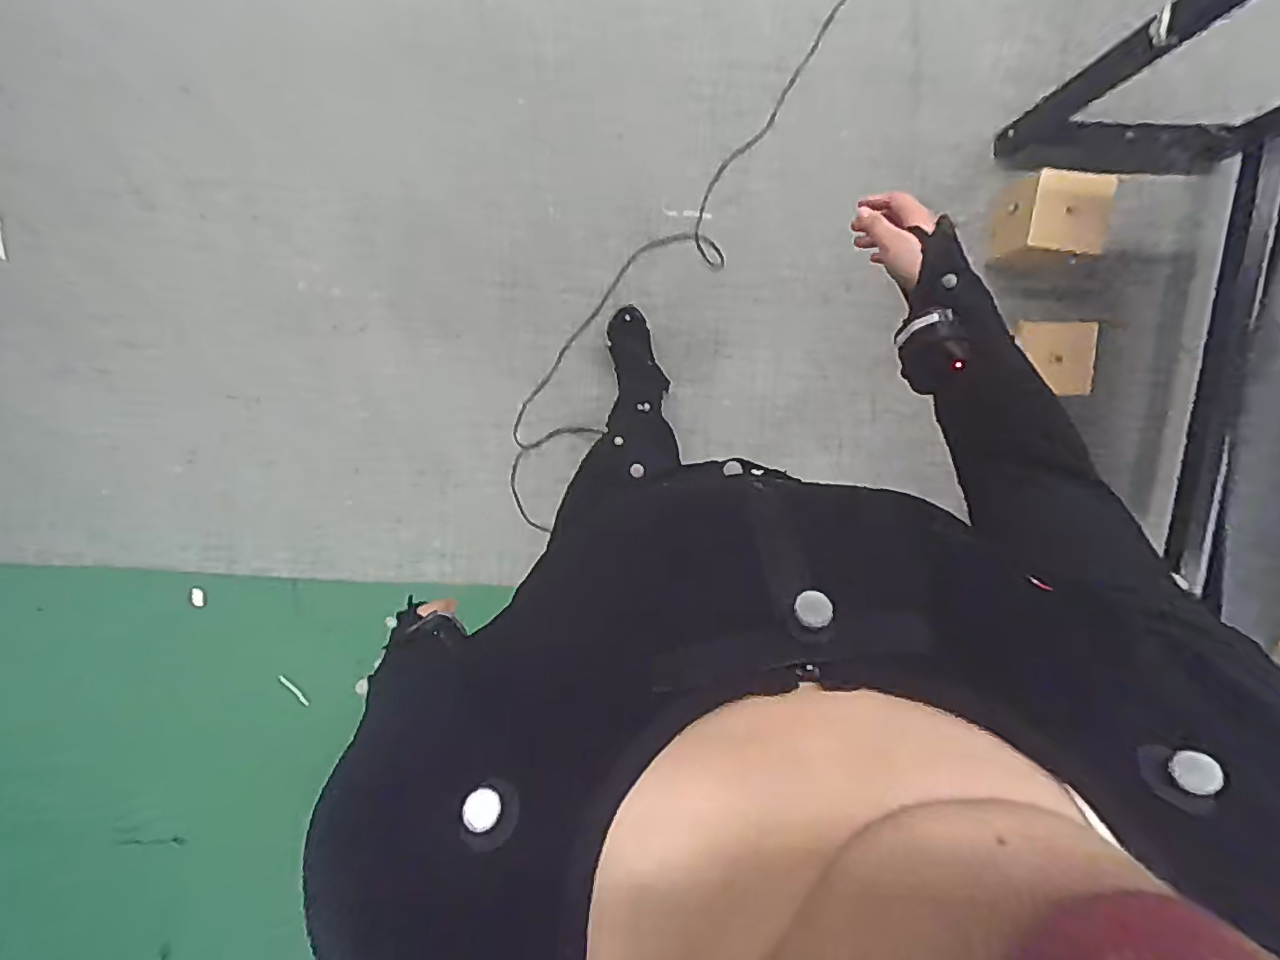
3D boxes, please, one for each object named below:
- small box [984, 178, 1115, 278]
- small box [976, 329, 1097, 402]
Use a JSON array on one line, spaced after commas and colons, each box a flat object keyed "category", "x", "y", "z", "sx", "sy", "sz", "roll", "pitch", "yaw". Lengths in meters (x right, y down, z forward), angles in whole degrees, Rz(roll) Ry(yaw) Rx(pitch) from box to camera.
[{"category": "small box", "x": 0.962, "y": -0.591, "z": 1.288, "sx": 0.179, "sy": 0.176, "sz": 0.168, "roll": 6, "pitch": 98, "yaw": -1}, {"category": "small box", "x": 0.964, "y": -0.276, "z": 1.330, "sx": 0.179, "sy": 0.176, "sz": 0.168, "roll": -1, "pitch": 99, "yaw": -1}]
